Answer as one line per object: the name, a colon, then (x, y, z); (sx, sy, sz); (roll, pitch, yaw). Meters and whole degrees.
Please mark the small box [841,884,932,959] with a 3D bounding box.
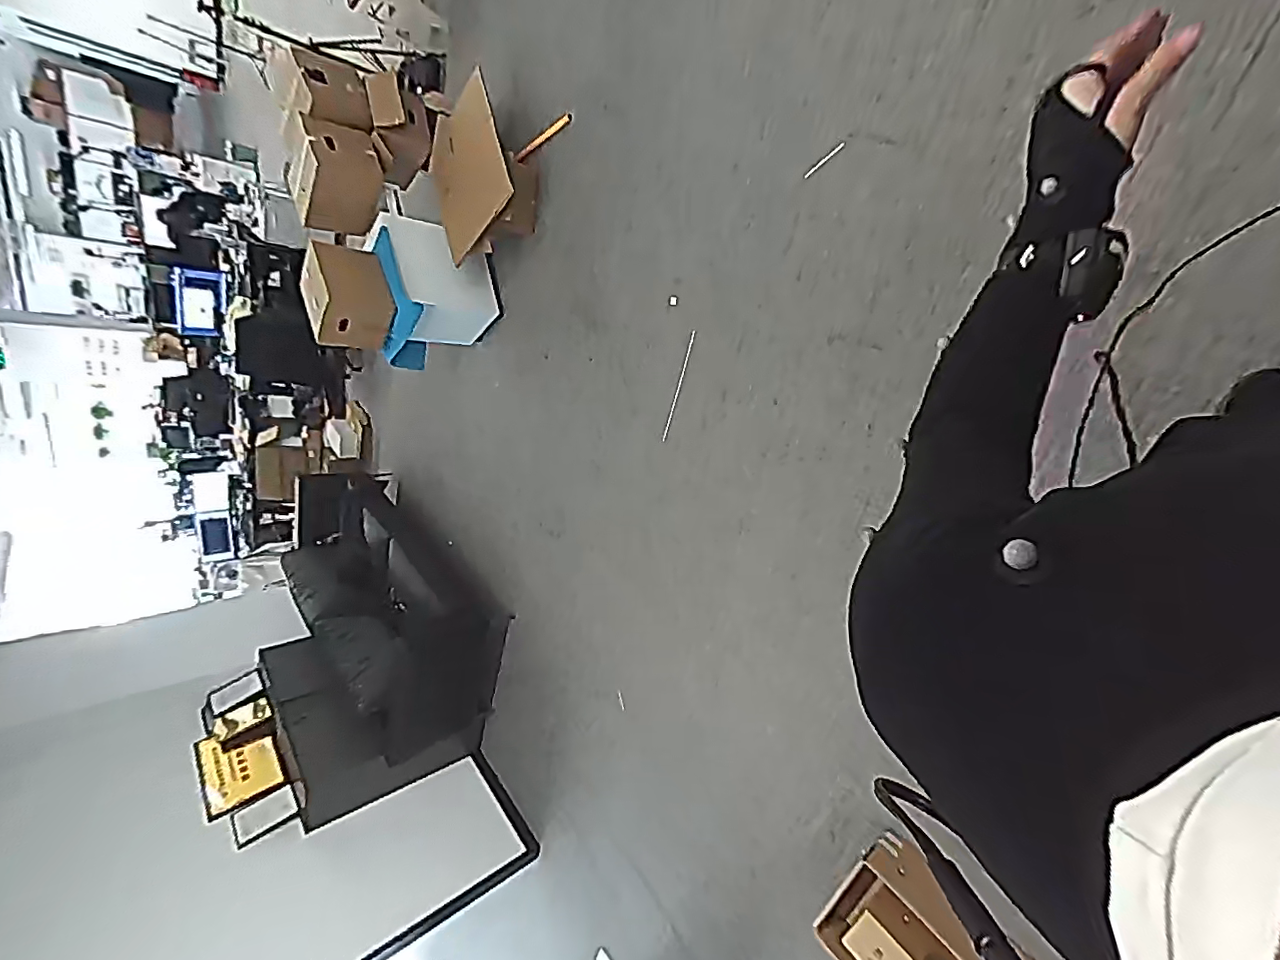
small box: (0.742, 1.368, 1.617); (0.168, 0.176, 0.179); (38, 120, 37)
